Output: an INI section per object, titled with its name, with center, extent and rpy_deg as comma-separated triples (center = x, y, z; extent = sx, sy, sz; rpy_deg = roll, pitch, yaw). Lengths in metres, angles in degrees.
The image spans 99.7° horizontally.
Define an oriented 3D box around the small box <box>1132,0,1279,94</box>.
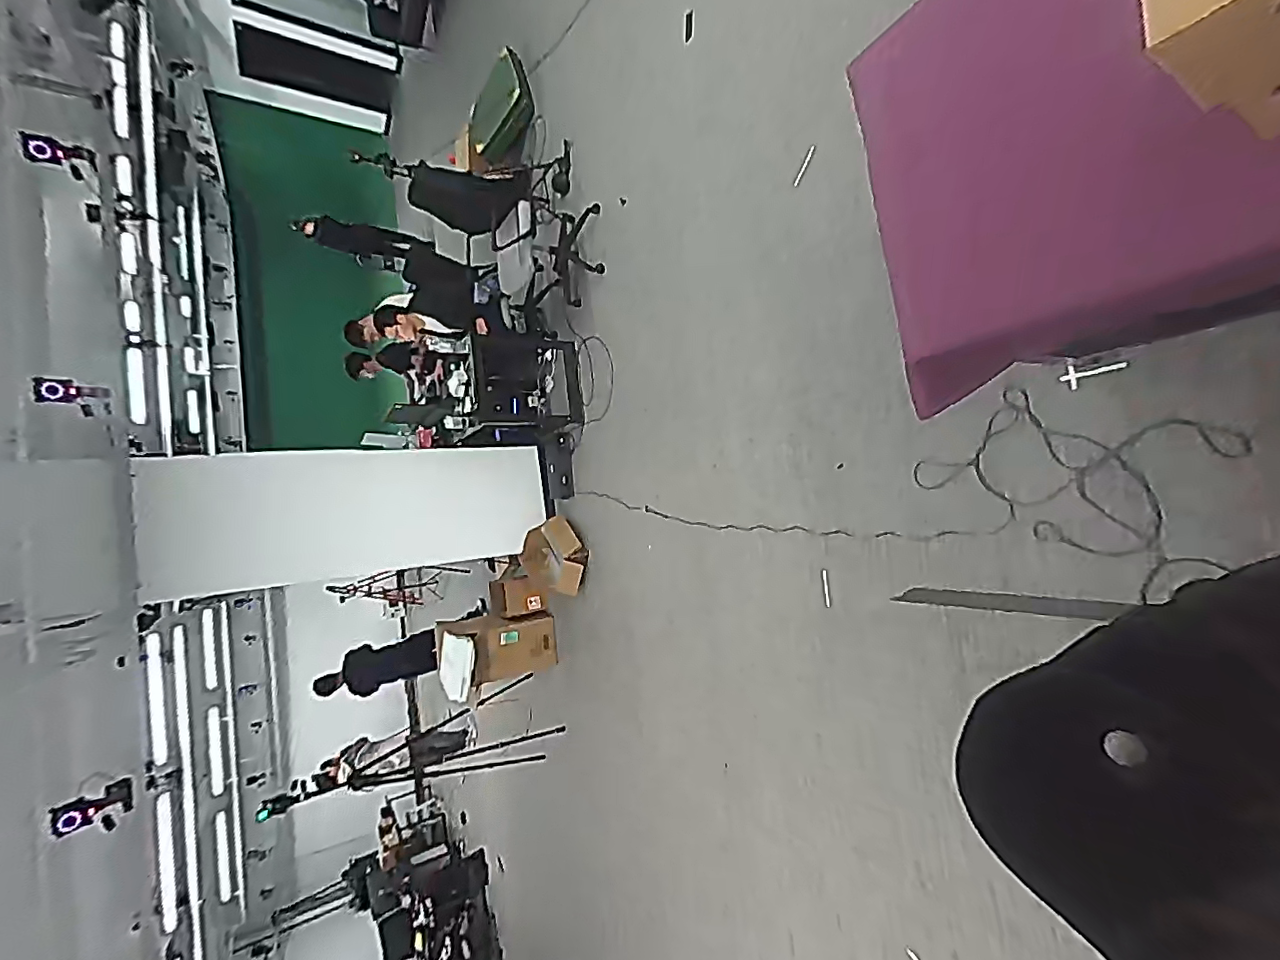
[small box]
center = 0.531, -0.459, 0.431
extent = 0.179, 0.176, 0.168
rpy_deg = -6, 89, 58
